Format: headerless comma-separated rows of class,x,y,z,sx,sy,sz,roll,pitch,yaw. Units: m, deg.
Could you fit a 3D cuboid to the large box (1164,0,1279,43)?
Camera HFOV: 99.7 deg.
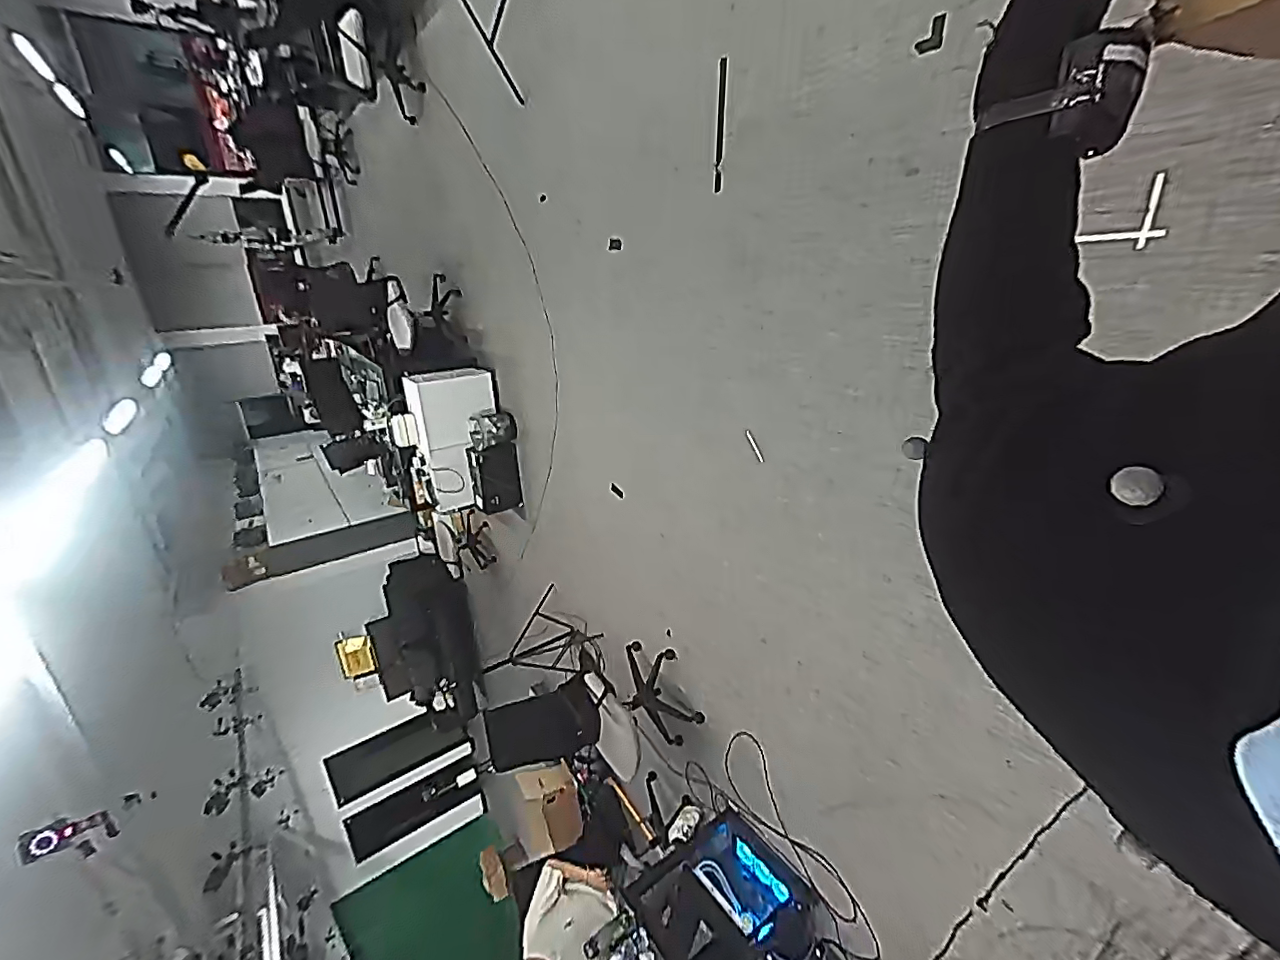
large box,0.549,-0.470,0.226,0.408,0.320,0.320,14,120,59
